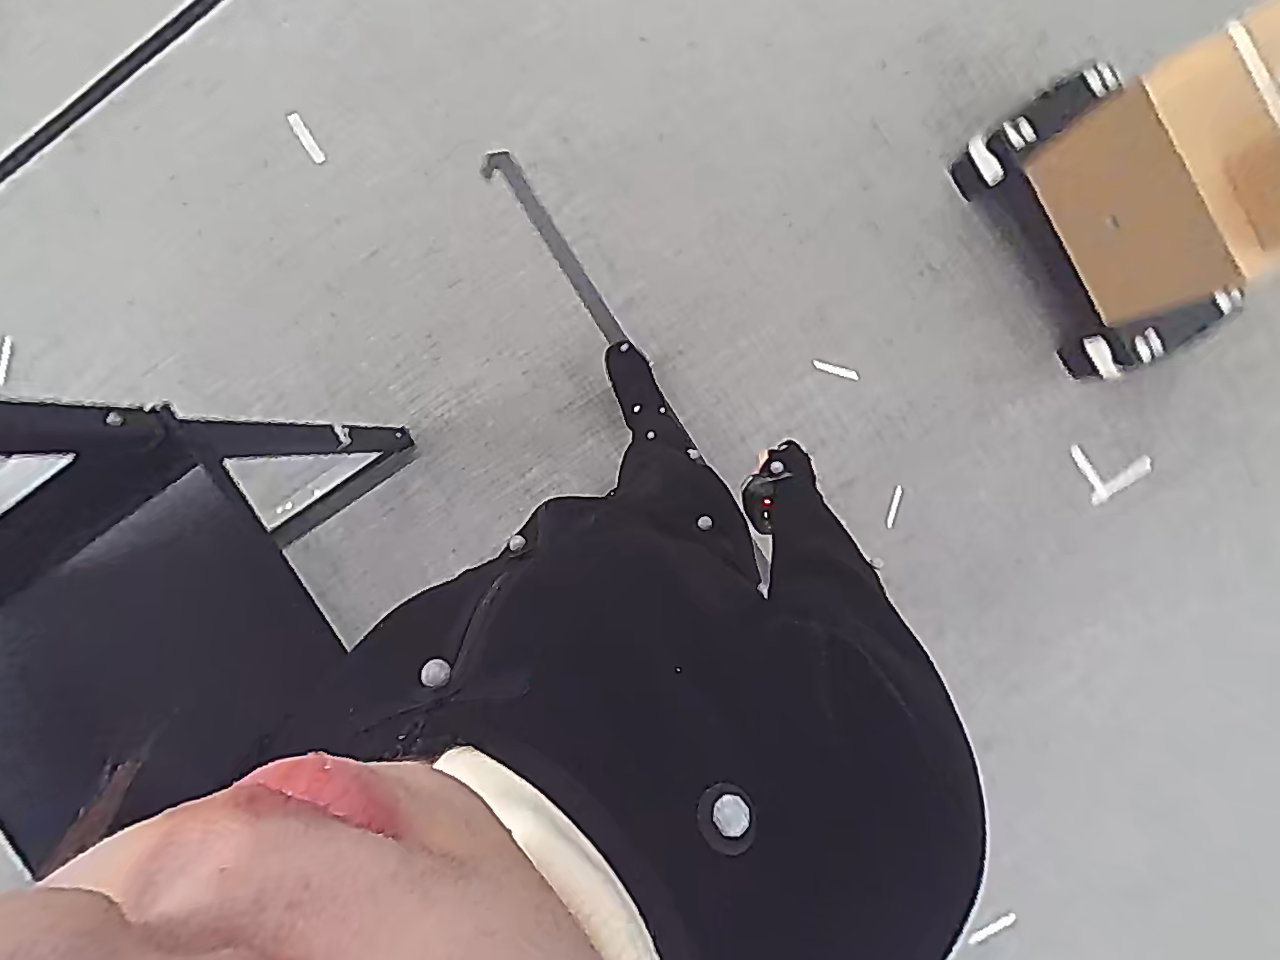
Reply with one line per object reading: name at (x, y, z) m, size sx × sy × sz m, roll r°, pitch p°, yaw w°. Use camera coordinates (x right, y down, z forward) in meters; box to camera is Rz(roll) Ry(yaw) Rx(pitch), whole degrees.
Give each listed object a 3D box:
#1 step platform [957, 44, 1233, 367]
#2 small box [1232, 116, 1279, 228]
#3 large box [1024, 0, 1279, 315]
step platform at (1.059, -0.627, 1.281) m, size 0.286 × 0.204 × 0.684 m, roll -28°, pitch 91°, yaw 4°
small box at (1.071, -0.503, 0.803) m, size 0.168 × 0.176 × 0.179 m, roll -27°, pitch 91°, yaw 5°
large box at (1.066, -0.600, 1.044) m, size 0.320 × 0.320 × 0.408 m, roll -30°, pitch 91°, yaw 4°
